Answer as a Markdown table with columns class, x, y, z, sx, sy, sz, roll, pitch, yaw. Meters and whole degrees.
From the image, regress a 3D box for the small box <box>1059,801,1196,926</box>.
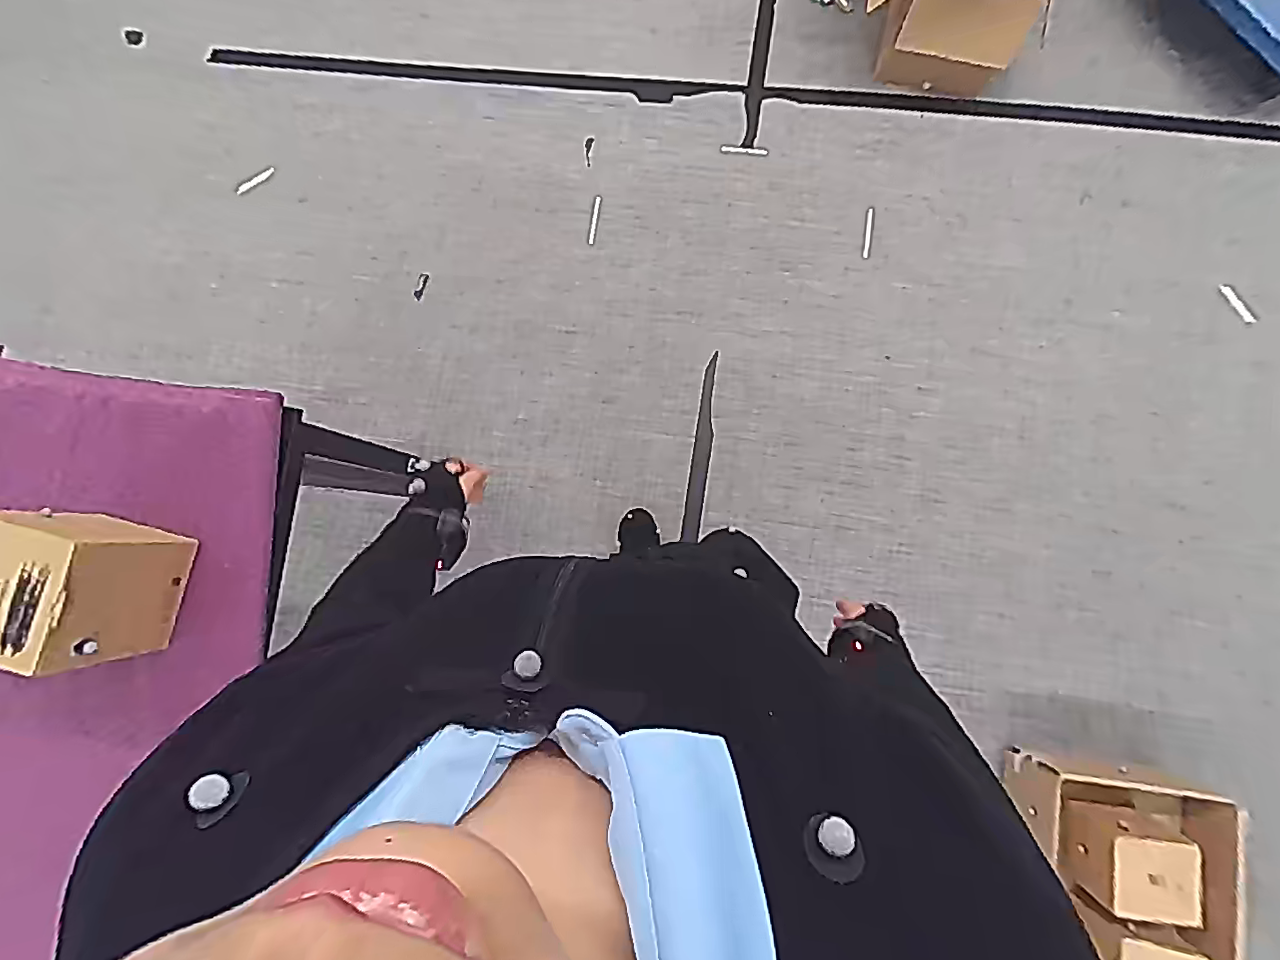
| class | x | y | z | sx | sy | sz | roll | pitch | yaw |
| --- | --- | --- | --- | --- | --- | --- | --- | --- | --- |
| small box | 1.108 | 0.867 | 1.241 | 0.179 | 0.176 | 0.168 | 5 | 86 | 4 |

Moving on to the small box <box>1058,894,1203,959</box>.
| class | x | y | z | sx | sy | sz | roll | pitch | yaw |
| --- | --- | --- | --- | --- | --- | --- | --- | --- | --- |
| small box | 1.101 | 1.084 | 1.220 | 0.179 | 0.176 | 0.168 | 12 | 84 | 5 |
